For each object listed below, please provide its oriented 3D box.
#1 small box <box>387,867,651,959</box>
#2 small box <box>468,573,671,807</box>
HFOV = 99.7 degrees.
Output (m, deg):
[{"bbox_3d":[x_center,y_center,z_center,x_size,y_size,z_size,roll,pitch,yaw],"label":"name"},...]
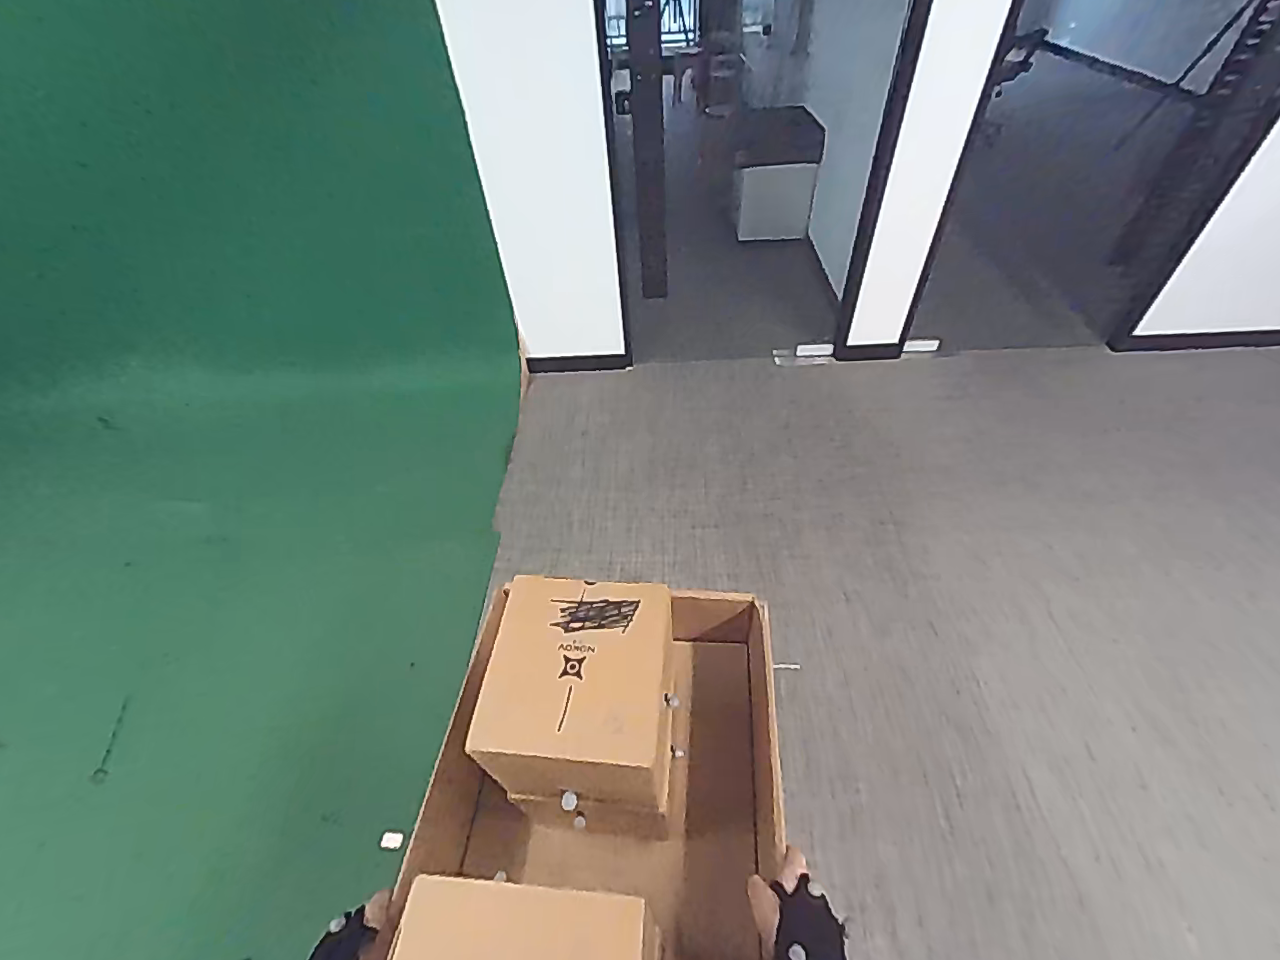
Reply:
[{"bbox_3d":[-0.087,0.411,0.407,0.179,0.176,0.168,2,48,5],"label":"small box"},{"bbox_3d":[-0.057,0.223,0.575,0.168,0.176,0.179,4,50,7],"label":"small box"}]
